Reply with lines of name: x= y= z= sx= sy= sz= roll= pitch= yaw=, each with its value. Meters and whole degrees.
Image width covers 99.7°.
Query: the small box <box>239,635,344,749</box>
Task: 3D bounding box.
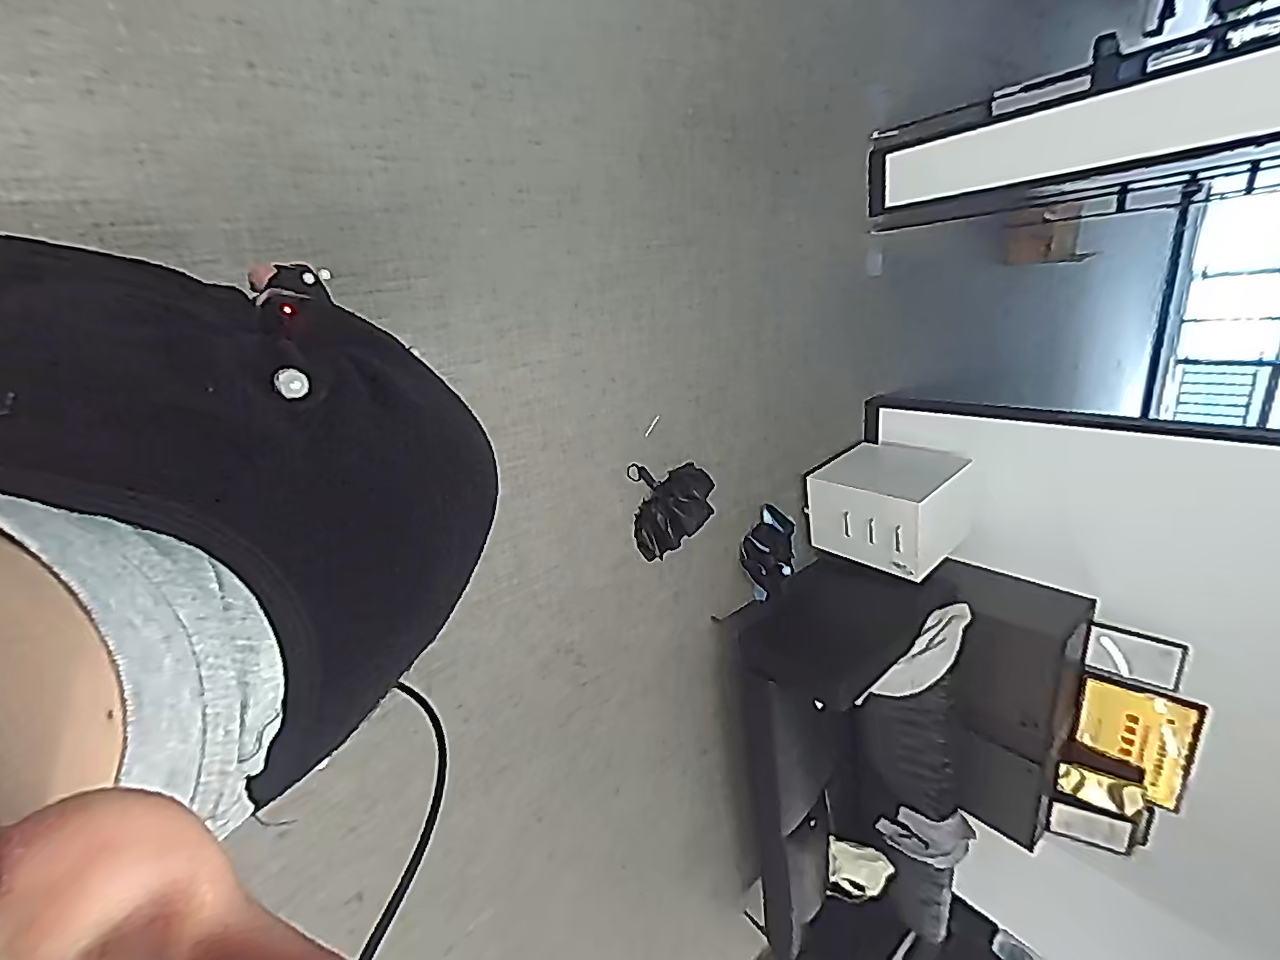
small box: x=-0.888 y=0.532 z=1.380 sx=0.168 sy=0.176 sz=0.179 roll=-29 pitch=118 yaw=-31
